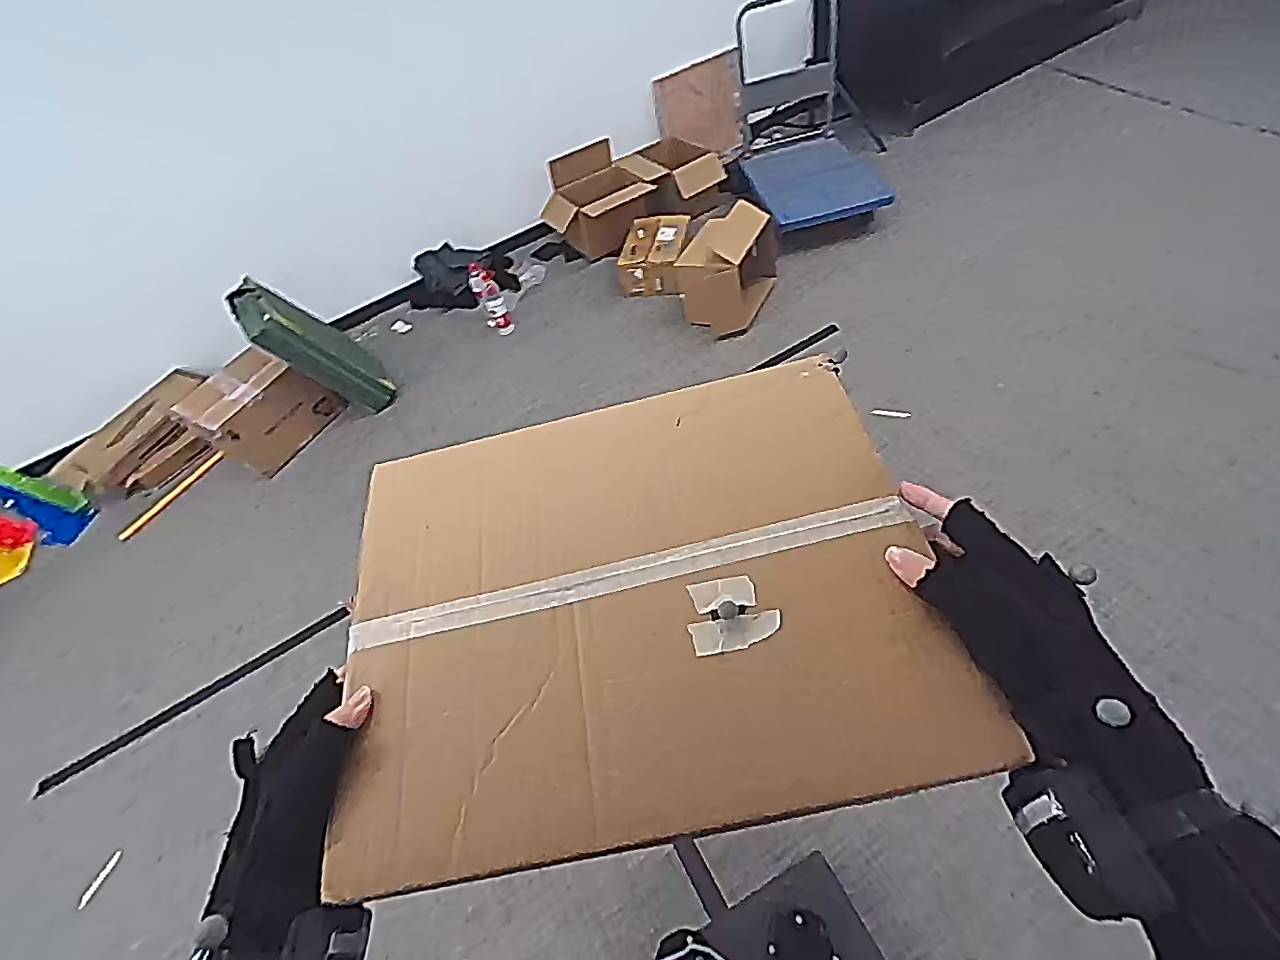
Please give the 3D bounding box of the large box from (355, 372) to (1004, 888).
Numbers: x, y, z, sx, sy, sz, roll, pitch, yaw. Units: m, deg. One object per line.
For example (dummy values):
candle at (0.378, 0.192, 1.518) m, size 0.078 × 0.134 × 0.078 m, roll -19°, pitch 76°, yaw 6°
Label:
large box at (0.017, 0.154, 0.522) m, size 0.408 × 0.320 × 0.320 m, roll -13°, pitch 57°, yaw 3°
